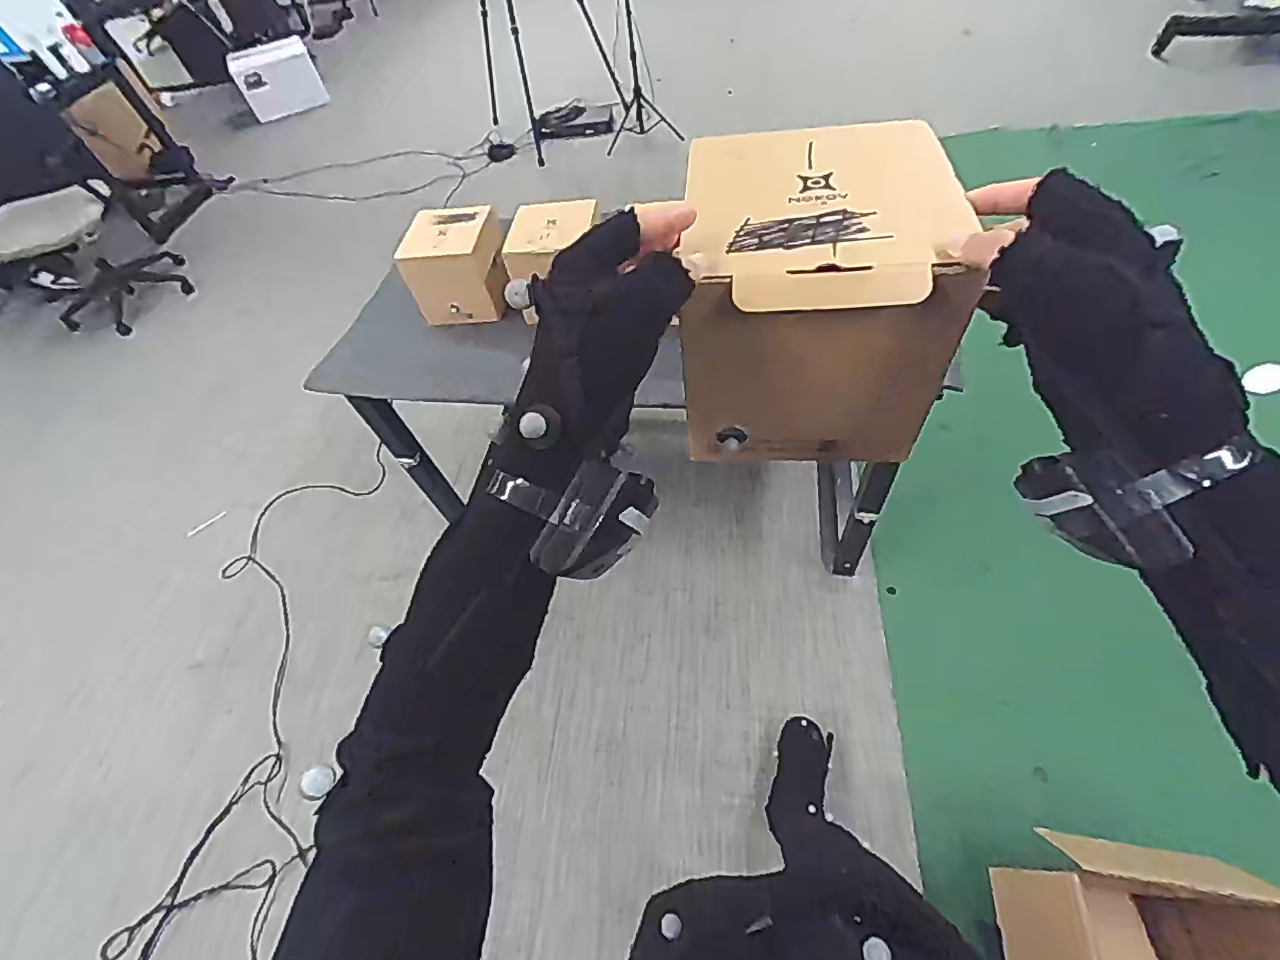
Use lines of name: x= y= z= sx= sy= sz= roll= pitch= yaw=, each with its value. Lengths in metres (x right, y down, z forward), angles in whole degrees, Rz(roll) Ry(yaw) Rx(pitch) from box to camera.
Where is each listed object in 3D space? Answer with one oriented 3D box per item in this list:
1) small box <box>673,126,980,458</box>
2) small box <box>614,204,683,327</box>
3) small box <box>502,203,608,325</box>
small box: x=0.118 y=-0.131 z=0.407 sx=0.168 sy=0.176 sz=0.179 roll=1 pitch=54 yaw=9
small box: x=0.052 y=-0.418 z=1.072 sx=0.168 sy=0.176 sz=0.179 roll=0 pitch=54 yaw=9
small box: x=-0.165 y=-0.443 z=1.120 sx=0.168 sy=0.176 sz=0.179 roll=-1 pitch=55 yaw=9
